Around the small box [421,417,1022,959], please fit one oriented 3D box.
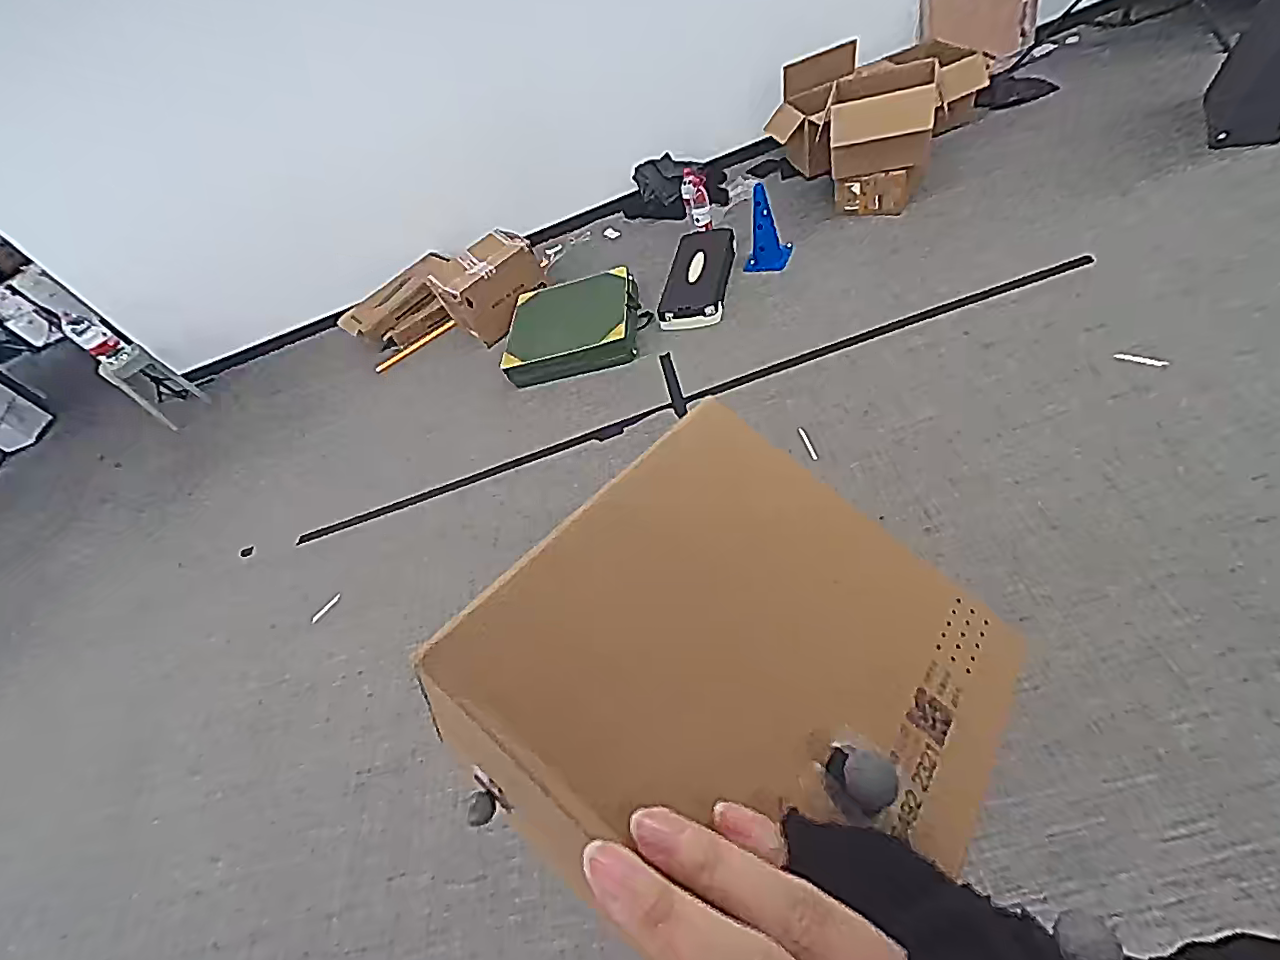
[{"bbox_3d":[0.026,0.112,0.257,0.176,0.179,0.168,39,55,11],"label":"small box"}]
